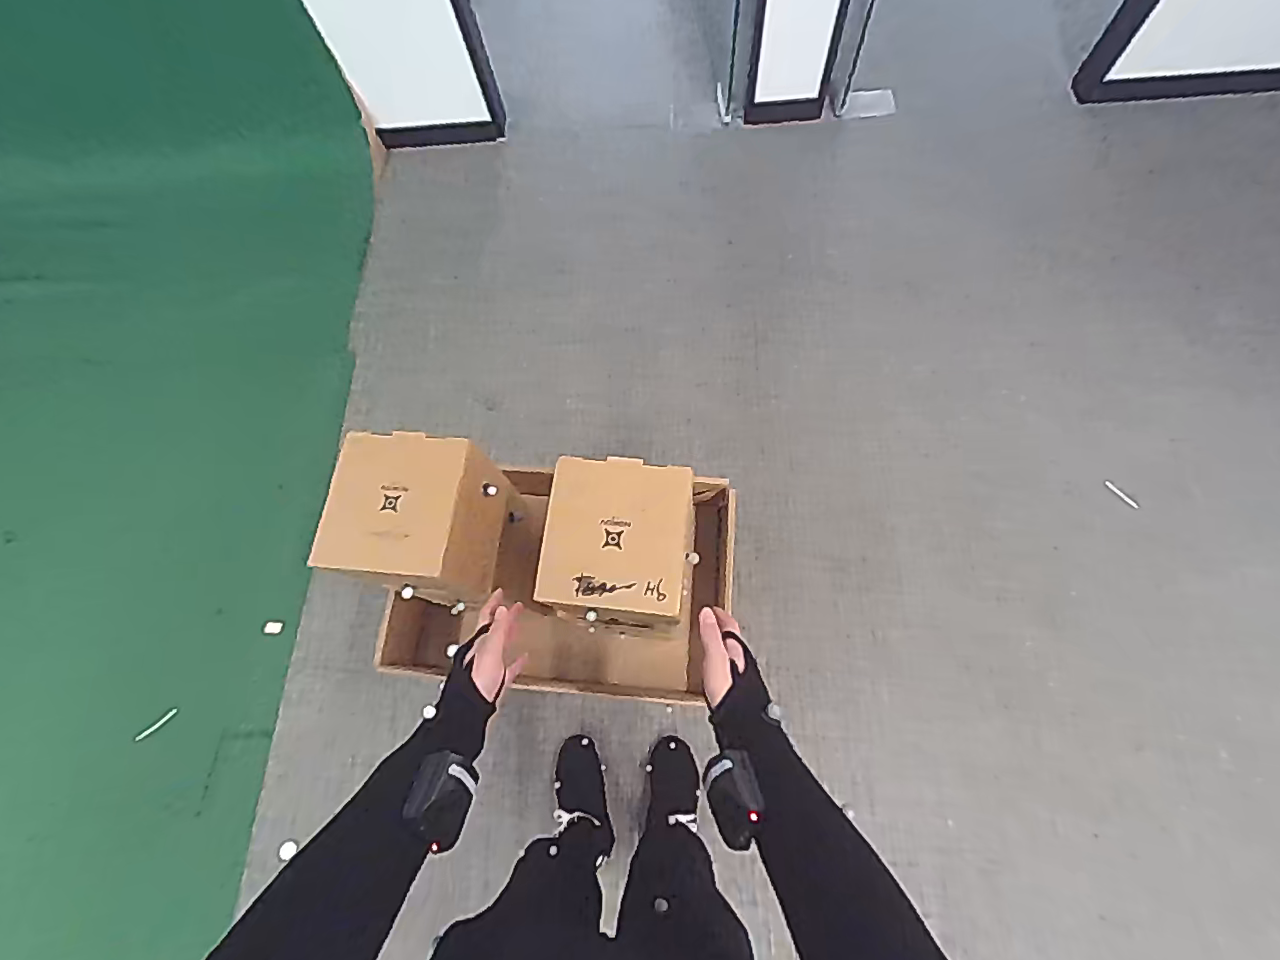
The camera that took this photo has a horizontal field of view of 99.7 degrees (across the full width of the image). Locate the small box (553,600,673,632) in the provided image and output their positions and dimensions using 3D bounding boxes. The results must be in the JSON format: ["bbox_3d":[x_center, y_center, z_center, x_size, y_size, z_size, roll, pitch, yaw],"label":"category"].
[{"bbox_3d":[-0.024,0.137,0.842,0.168,0.176,0.179,5,71,6],"label":"small box"}]

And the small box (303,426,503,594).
[{"bbox_3d":[-0.295,0.046,0.719,0.168,0.176,0.179,4,71,7],"label":"small box"}]

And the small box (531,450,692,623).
[{"bbox_3d":[-0.025,0.079,0.688,0.168,0.176,0.179,5,71,6],"label":"small box"}]

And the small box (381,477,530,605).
[{"bbox_3d":[-0.285,0.099,0.873,0.168,0.176,0.179,3,71,6],"label":"small box"}]

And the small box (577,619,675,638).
[{"bbox_3d":[-0.013,0.191,0.997,0.168,0.176,0.179,5,72,6],"label":"small box"}]
